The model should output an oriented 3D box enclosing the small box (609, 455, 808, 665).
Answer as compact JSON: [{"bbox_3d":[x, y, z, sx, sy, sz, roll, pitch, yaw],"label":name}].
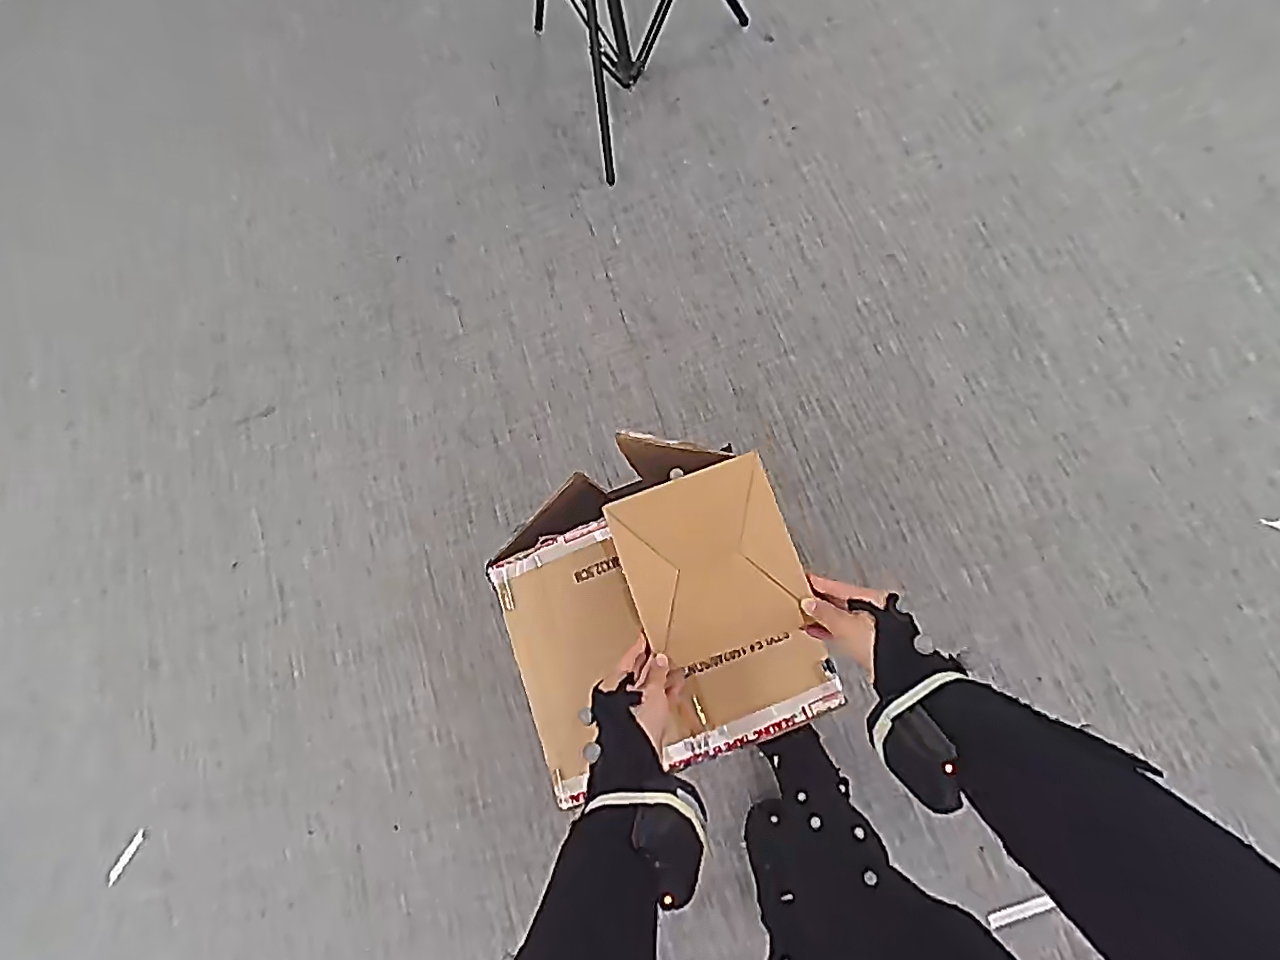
[{"bbox_3d":[0.074,0.087,0.607,0.168,0.176,0.179,-20,83,3],"label":"small box"}]
